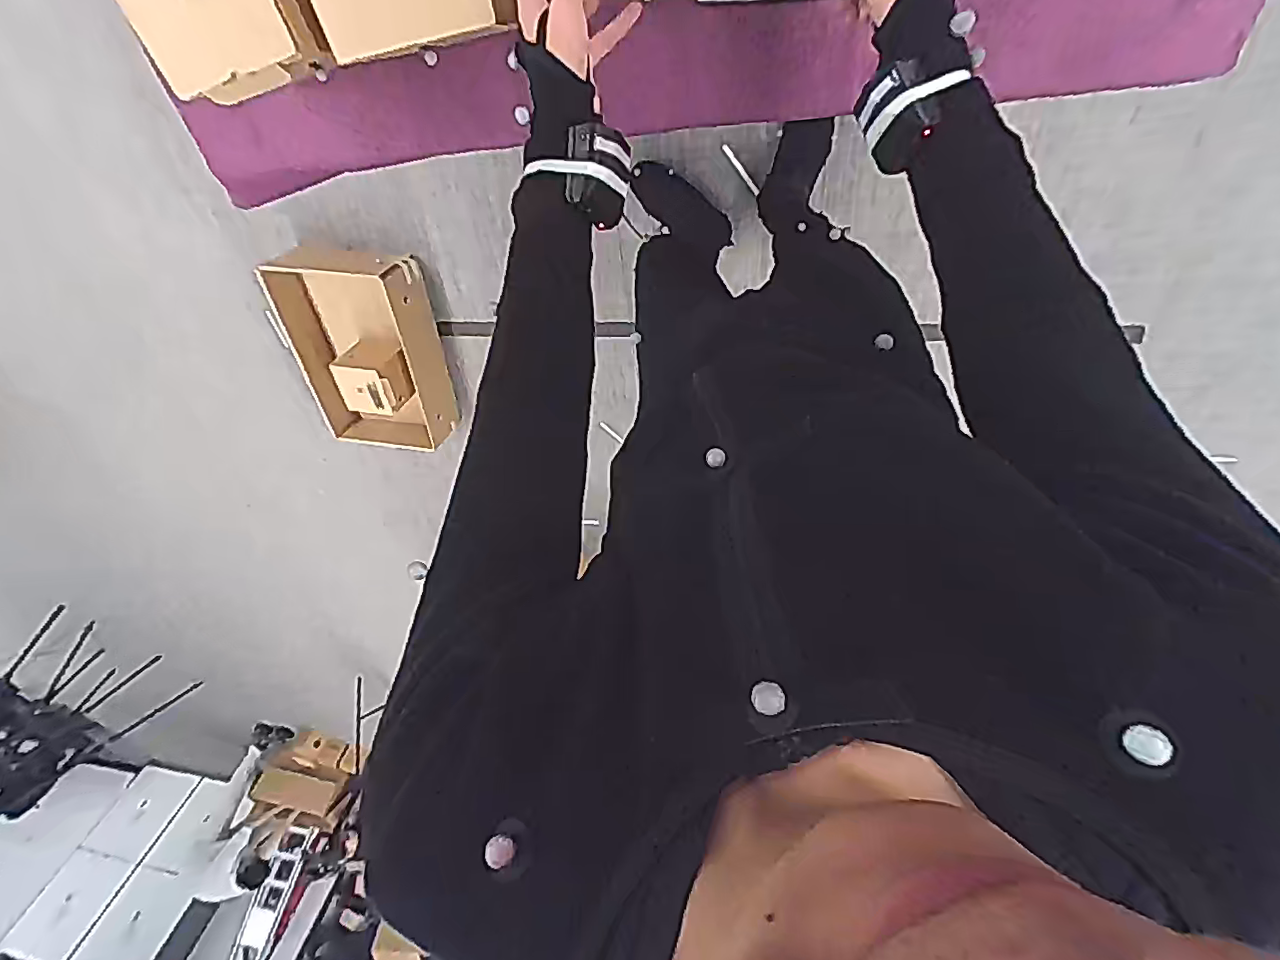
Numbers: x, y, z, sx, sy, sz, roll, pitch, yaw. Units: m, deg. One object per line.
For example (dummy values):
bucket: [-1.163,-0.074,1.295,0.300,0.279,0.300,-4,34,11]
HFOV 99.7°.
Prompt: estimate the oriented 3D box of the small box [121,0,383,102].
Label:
small box: [-0.405,-0.519,0.551,0.168,0.176,0.179,-4,129,17]
